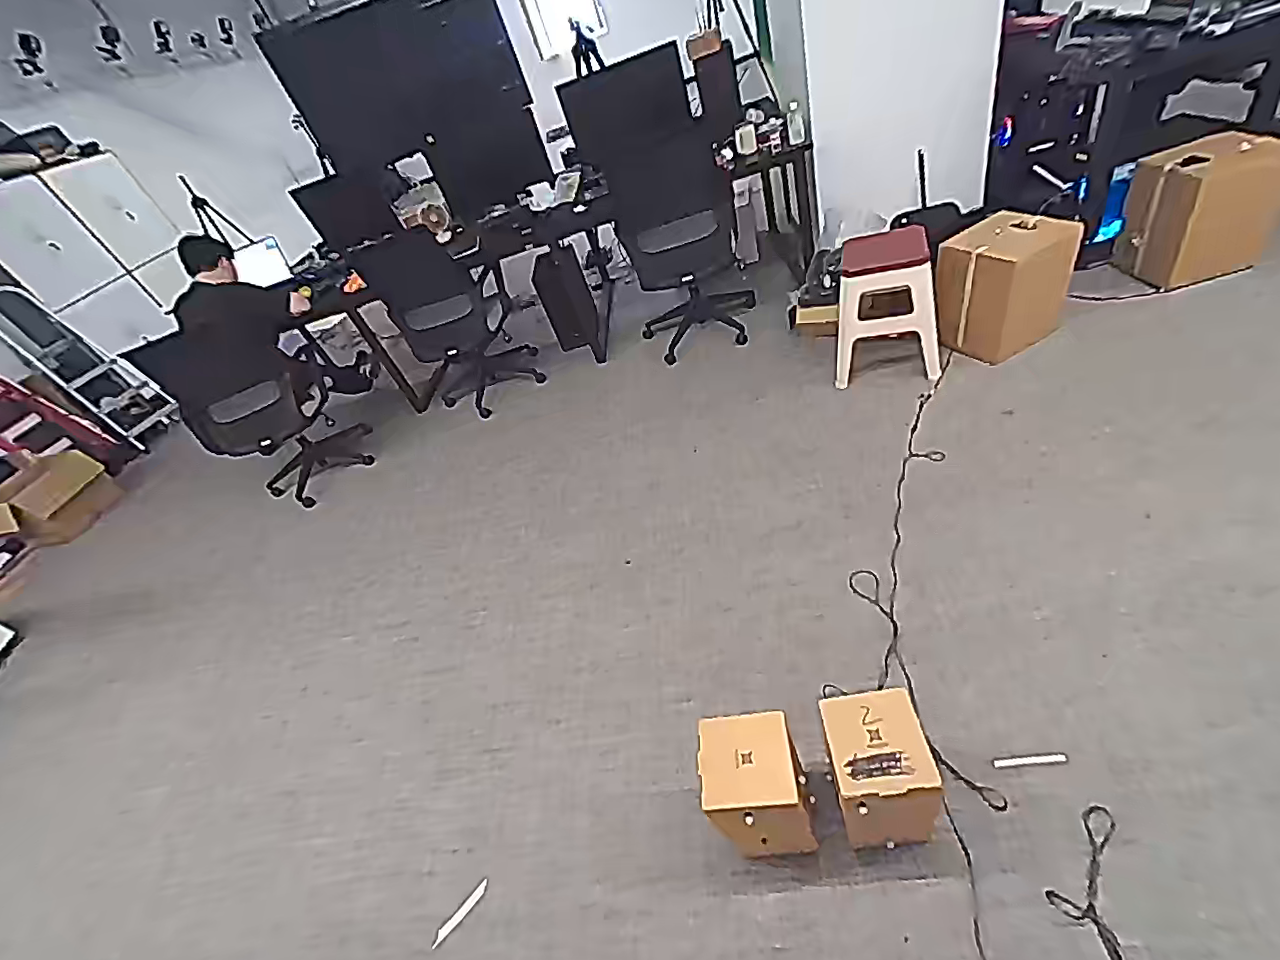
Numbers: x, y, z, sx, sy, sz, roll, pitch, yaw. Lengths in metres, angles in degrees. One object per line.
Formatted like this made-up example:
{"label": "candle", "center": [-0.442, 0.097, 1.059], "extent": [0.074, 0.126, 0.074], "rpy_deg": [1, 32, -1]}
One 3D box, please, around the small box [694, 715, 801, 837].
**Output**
{"label": "small box", "center": [0.214, 0.587, 1.068], "extent": [0.179, 0.176, 0.168], "rpy_deg": [-13, 41, 14]}

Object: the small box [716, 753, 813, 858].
{"label": "small box", "center": [0.262, 0.701, 1.172], "extent": [0.179, 0.176, 0.168], "rpy_deg": [-13, 41, 13]}

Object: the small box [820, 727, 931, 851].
{"label": "small box", "center": [0.483, 0.646, 1.129], "extent": [0.168, 0.176, 0.179], "rpy_deg": [-14, 41, 11]}
